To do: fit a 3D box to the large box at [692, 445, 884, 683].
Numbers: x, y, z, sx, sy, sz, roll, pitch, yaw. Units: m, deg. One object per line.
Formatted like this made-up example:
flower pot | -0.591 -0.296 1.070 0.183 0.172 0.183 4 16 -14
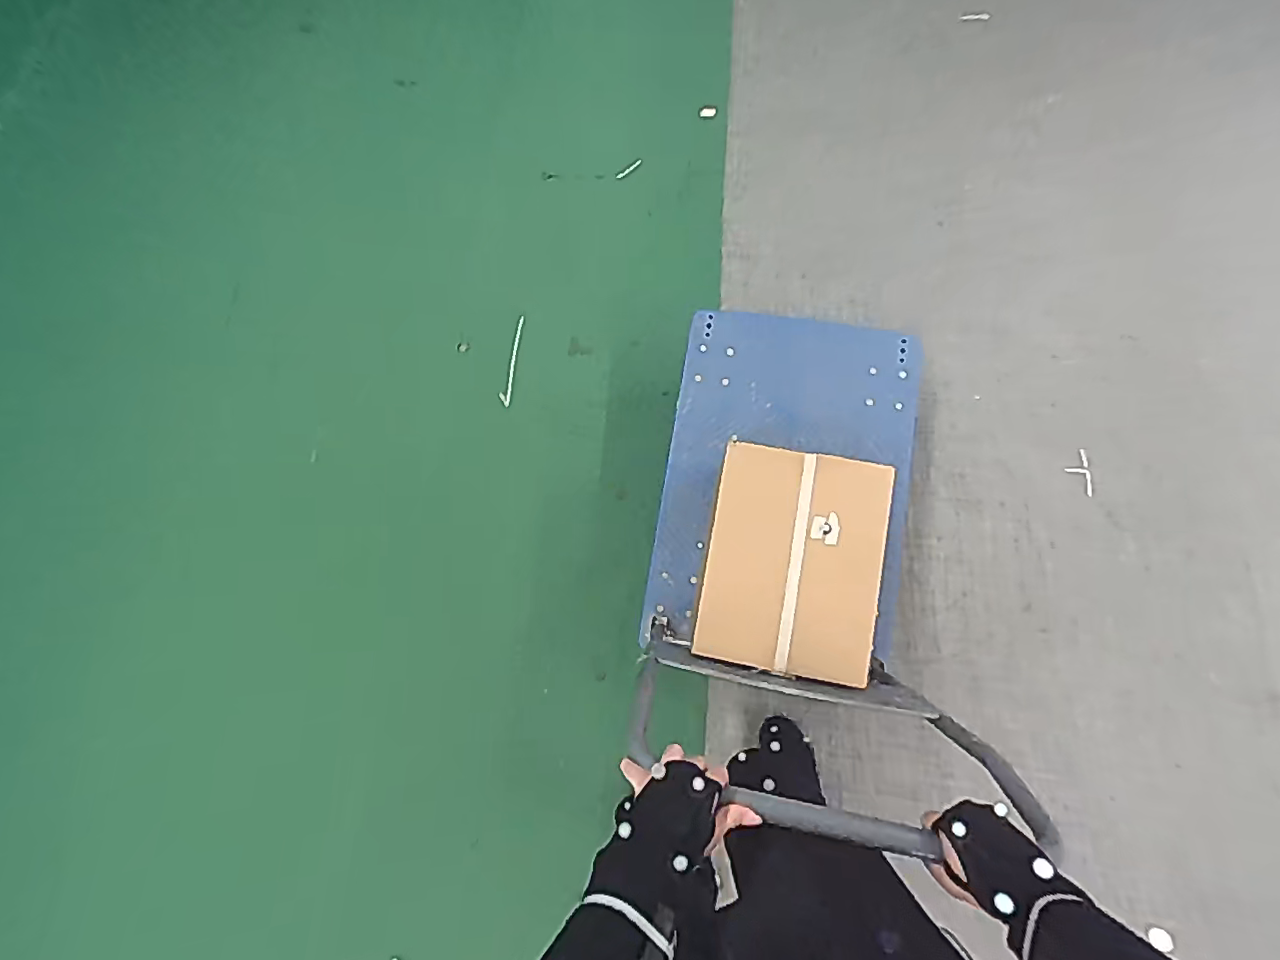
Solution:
large box | 0.292 0.175 1.159 0.320 0.320 0.408 11 81 6
